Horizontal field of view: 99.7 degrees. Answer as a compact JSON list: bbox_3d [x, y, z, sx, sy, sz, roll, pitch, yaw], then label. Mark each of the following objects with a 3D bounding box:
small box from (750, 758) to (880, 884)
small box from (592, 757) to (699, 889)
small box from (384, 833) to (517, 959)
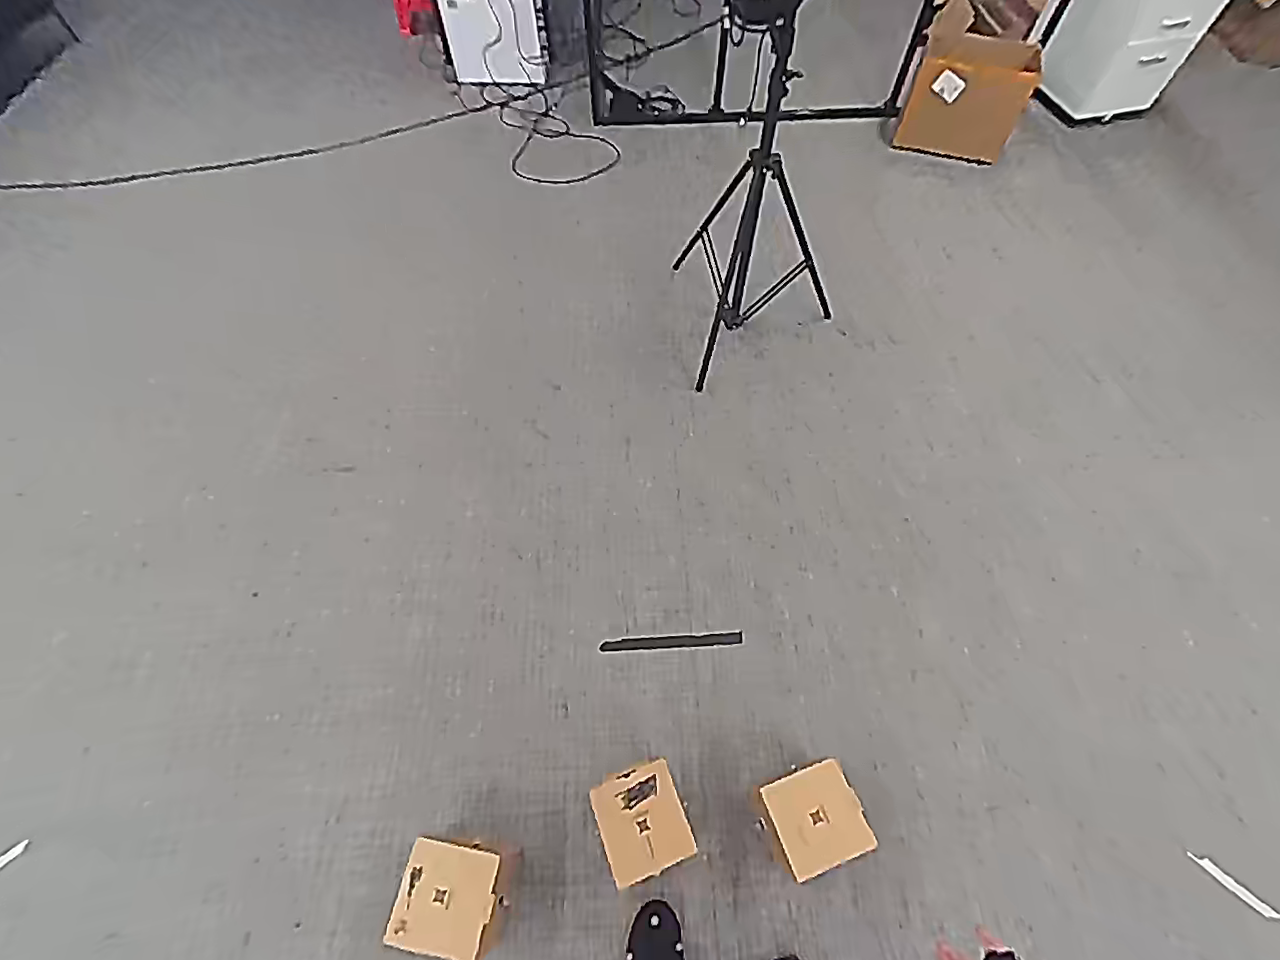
[{"bbox_3d":[0.348,0.692,1.112,0.179,0.176,0.168,-19,61,-9],"label":"small box"},{"bbox_3d":[0.007,0.696,1.111,0.168,0.176,0.179,-19,62,-10],"label":"small box"},{"bbox_3d":[-0.355,0.804,1.056,0.179,0.176,0.168,9,60,6],"label":"small box"}]
